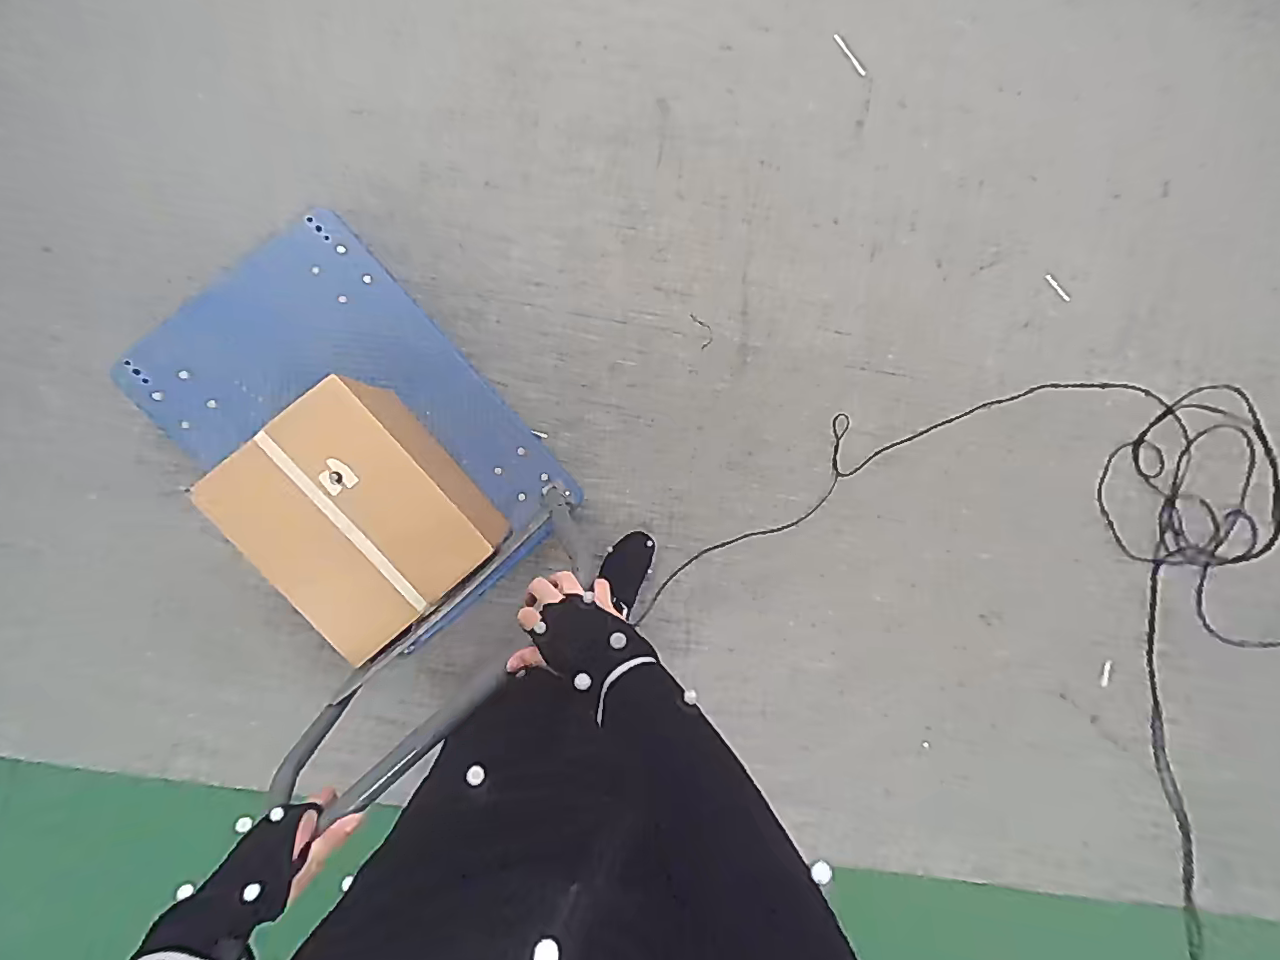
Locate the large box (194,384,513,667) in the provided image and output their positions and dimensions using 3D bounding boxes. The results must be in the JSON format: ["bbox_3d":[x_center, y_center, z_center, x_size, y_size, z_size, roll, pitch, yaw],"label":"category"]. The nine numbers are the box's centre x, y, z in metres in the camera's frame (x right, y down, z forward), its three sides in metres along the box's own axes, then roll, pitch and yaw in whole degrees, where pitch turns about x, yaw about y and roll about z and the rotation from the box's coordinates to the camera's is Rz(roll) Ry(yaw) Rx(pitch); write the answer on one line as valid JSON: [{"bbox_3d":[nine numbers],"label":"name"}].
[{"bbox_3d":[-0.513,0.077,1.070,0.320,0.320,0.408,-42,96,-5],"label":"large box"}]
